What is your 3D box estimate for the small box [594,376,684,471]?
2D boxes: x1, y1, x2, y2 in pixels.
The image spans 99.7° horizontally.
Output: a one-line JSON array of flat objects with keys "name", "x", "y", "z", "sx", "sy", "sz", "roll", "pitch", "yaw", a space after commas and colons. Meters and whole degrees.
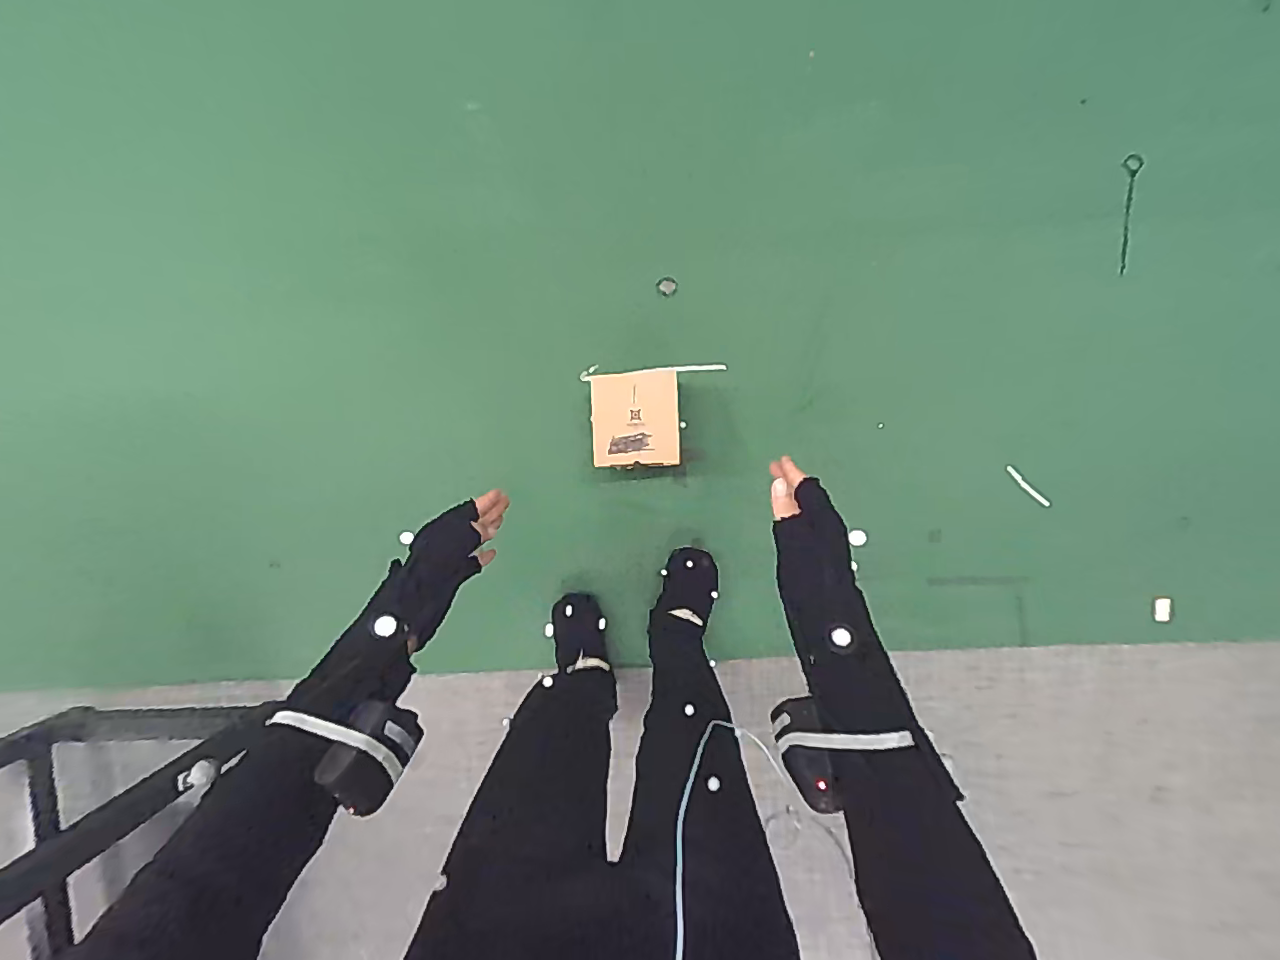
[{"name": "small box", "x": 0.004, "y": -0.111, "z": 1.097, "sx": 0.168, "sy": 0.176, "sz": 0.179, "roll": -2, "pitch": 92, "yaw": 5}]
